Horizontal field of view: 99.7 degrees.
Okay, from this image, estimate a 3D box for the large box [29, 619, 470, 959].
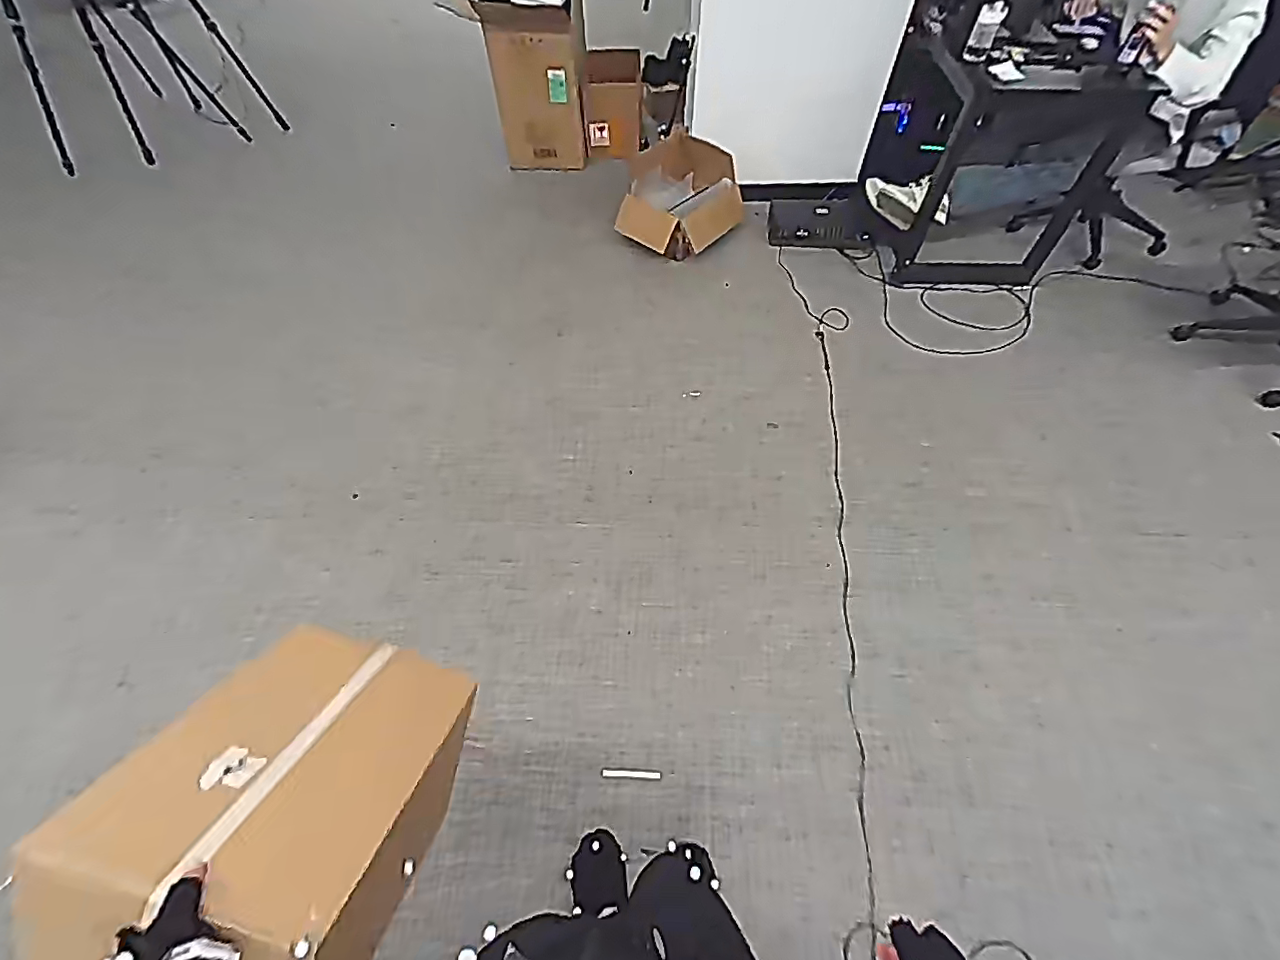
[{"bbox_3d":[-0.490,0.478,0.772,0.320,0.320,0.408,18,21,0],"label":"large box"}]
